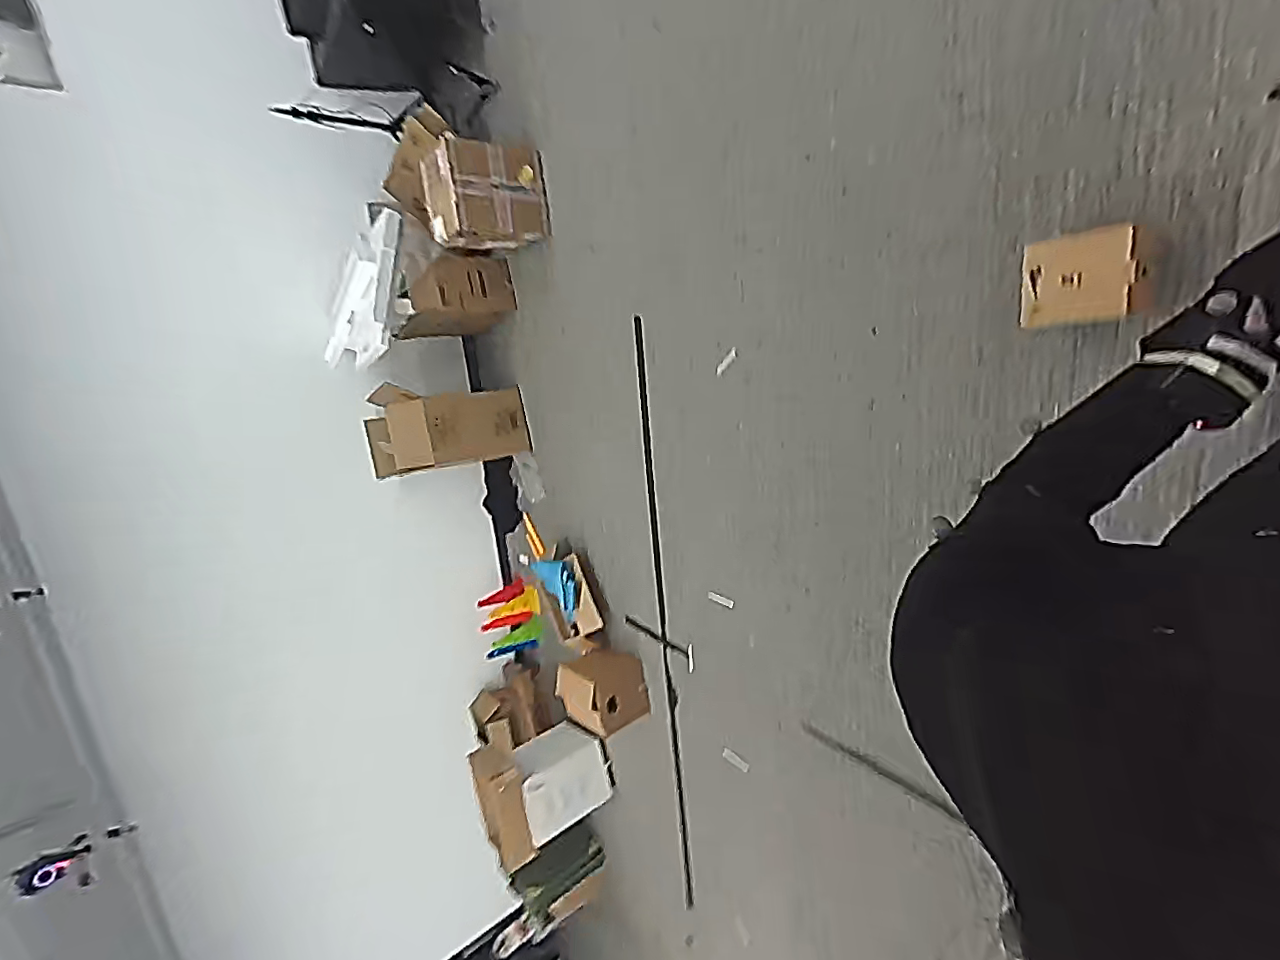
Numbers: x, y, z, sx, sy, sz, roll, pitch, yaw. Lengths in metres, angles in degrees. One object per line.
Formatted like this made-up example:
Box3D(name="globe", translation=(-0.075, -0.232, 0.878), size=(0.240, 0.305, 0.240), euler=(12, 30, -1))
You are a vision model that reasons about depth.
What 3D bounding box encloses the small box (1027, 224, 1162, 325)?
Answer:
Box3D(name="small box", translation=(0.922, -0.412, 1.098), size=(0.179, 0.176, 0.168), euler=(11, 111, 52))
